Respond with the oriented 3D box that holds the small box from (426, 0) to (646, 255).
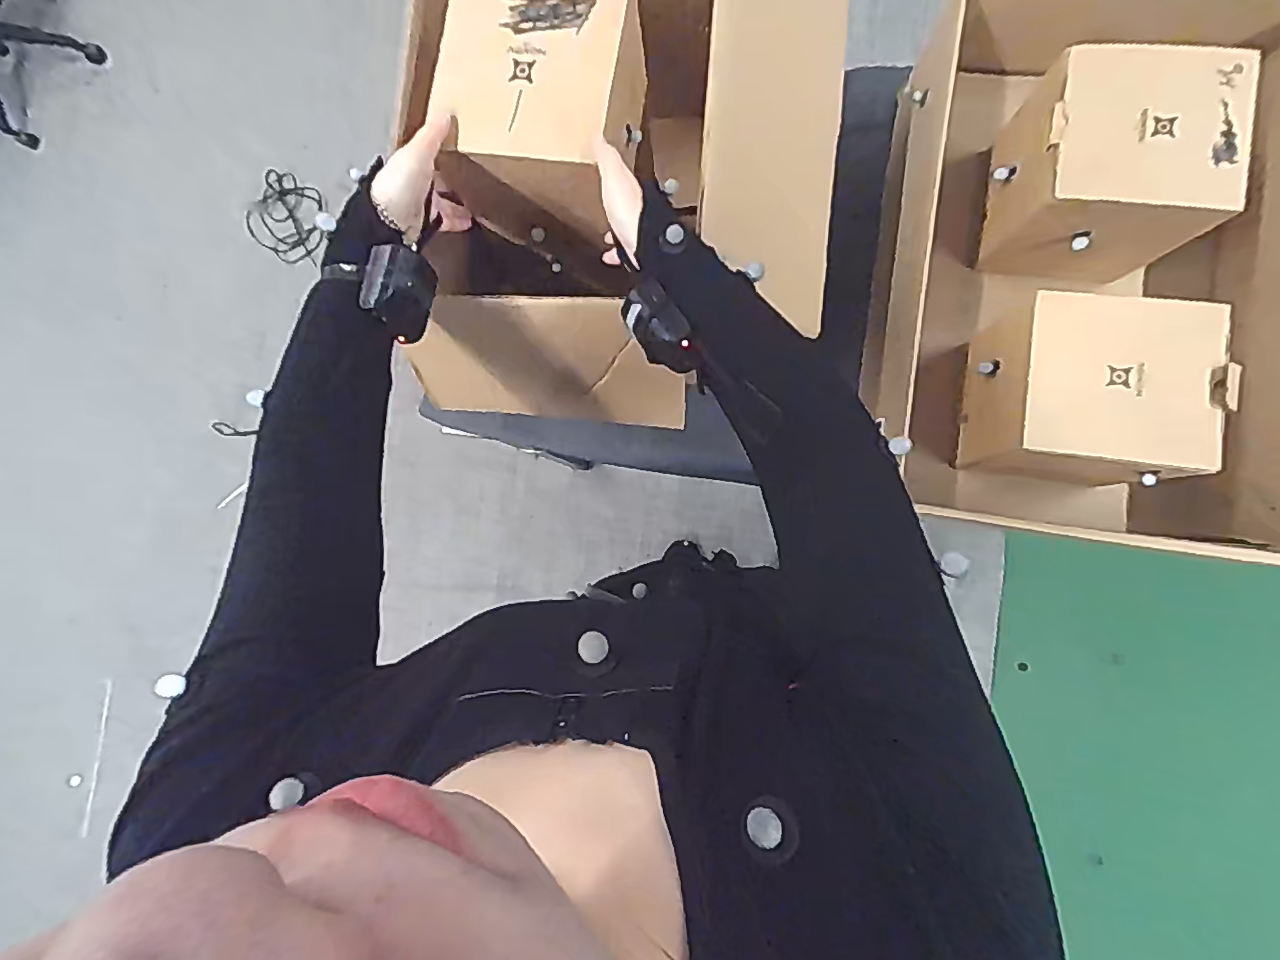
[{"bbox_3d":[-0.091,-0.363,0.560,0.168,0.176,0.179,10,89,7],"label":"small box"}]
